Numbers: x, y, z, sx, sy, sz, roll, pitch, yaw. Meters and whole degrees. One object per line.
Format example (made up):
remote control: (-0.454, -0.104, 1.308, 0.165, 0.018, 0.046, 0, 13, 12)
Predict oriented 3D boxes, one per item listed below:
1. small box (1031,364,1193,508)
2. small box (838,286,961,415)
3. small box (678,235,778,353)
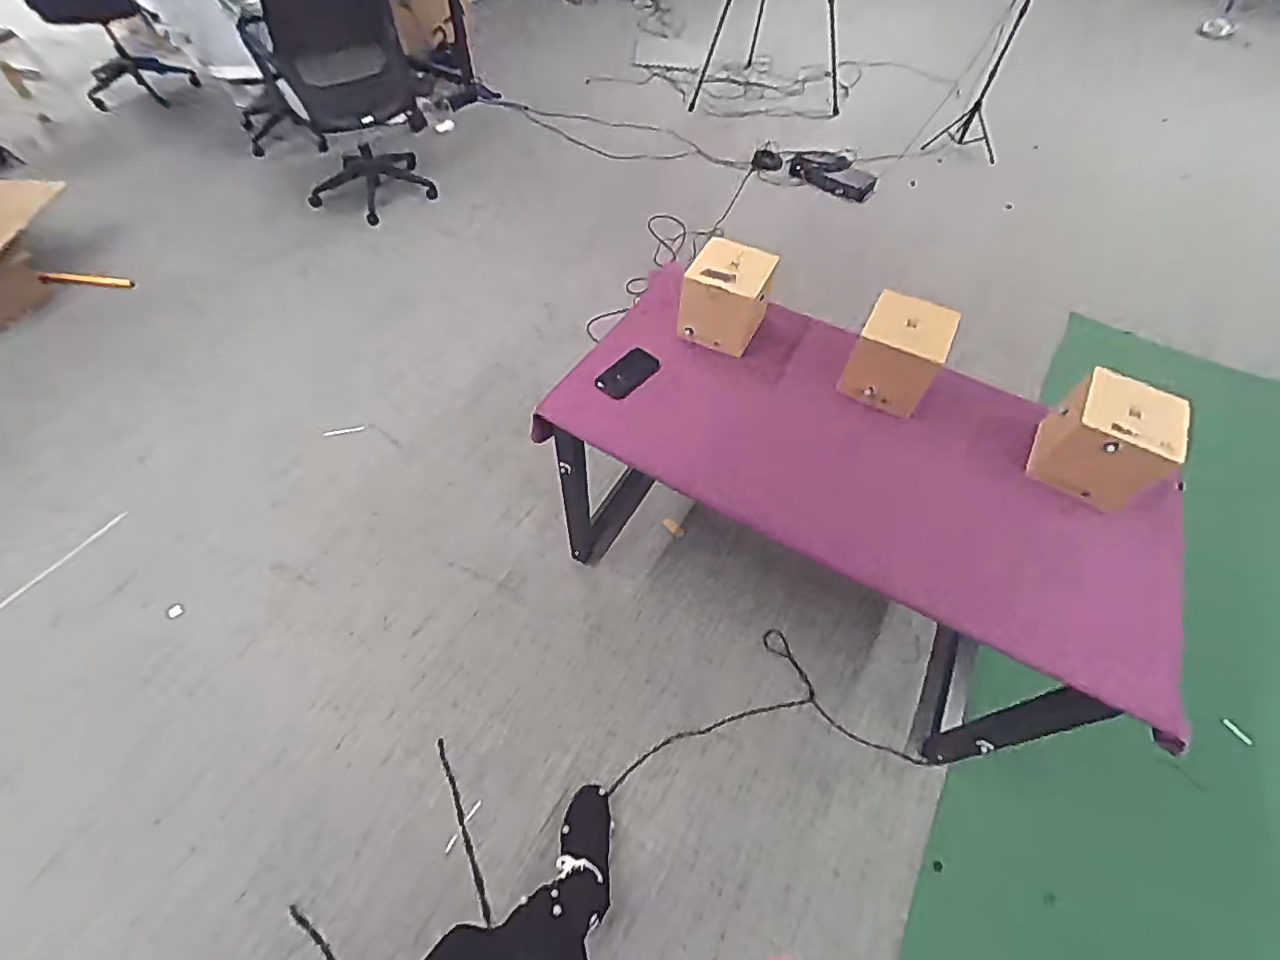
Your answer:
small box: (0.887, -0.082, 1.029, 0.168, 0.176, 0.179, 28, 59, 18)
small box: (0.545, -0.274, 1.151, 0.168, 0.176, 0.179, 26, 59, 16)
small box: (0.196, -0.422, 1.238, 0.168, 0.176, 0.179, 24, 57, 13)
